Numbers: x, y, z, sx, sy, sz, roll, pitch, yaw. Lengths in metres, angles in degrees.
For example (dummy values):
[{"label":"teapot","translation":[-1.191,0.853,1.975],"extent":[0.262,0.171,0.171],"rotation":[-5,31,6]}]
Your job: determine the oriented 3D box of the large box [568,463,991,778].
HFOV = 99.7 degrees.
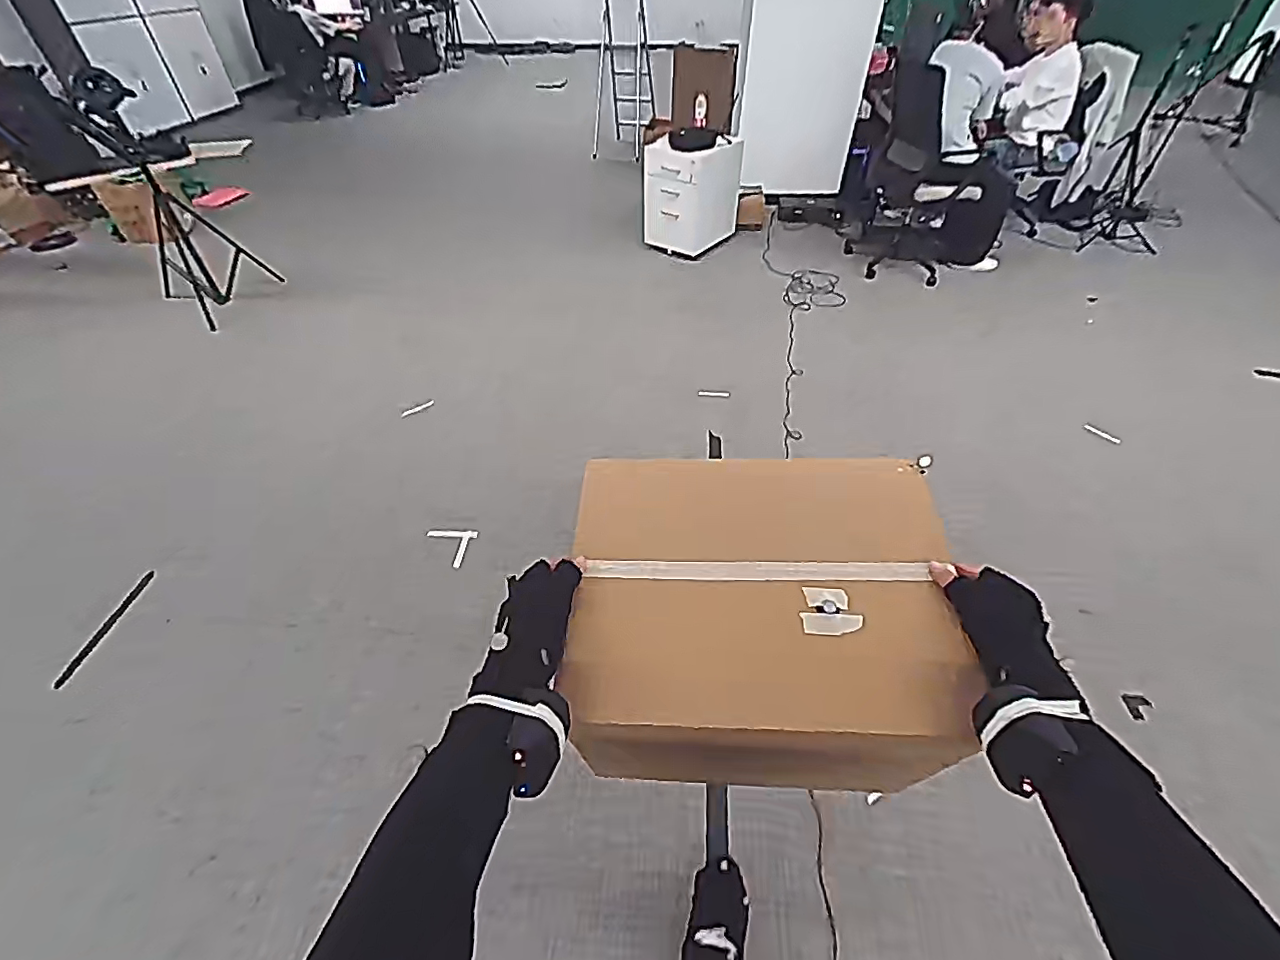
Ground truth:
[{"label":"large box","translation":[0.139,0.192,0.714],"extent":[0.408,0.320,0.320],"rotation":[0,53,4]}]
